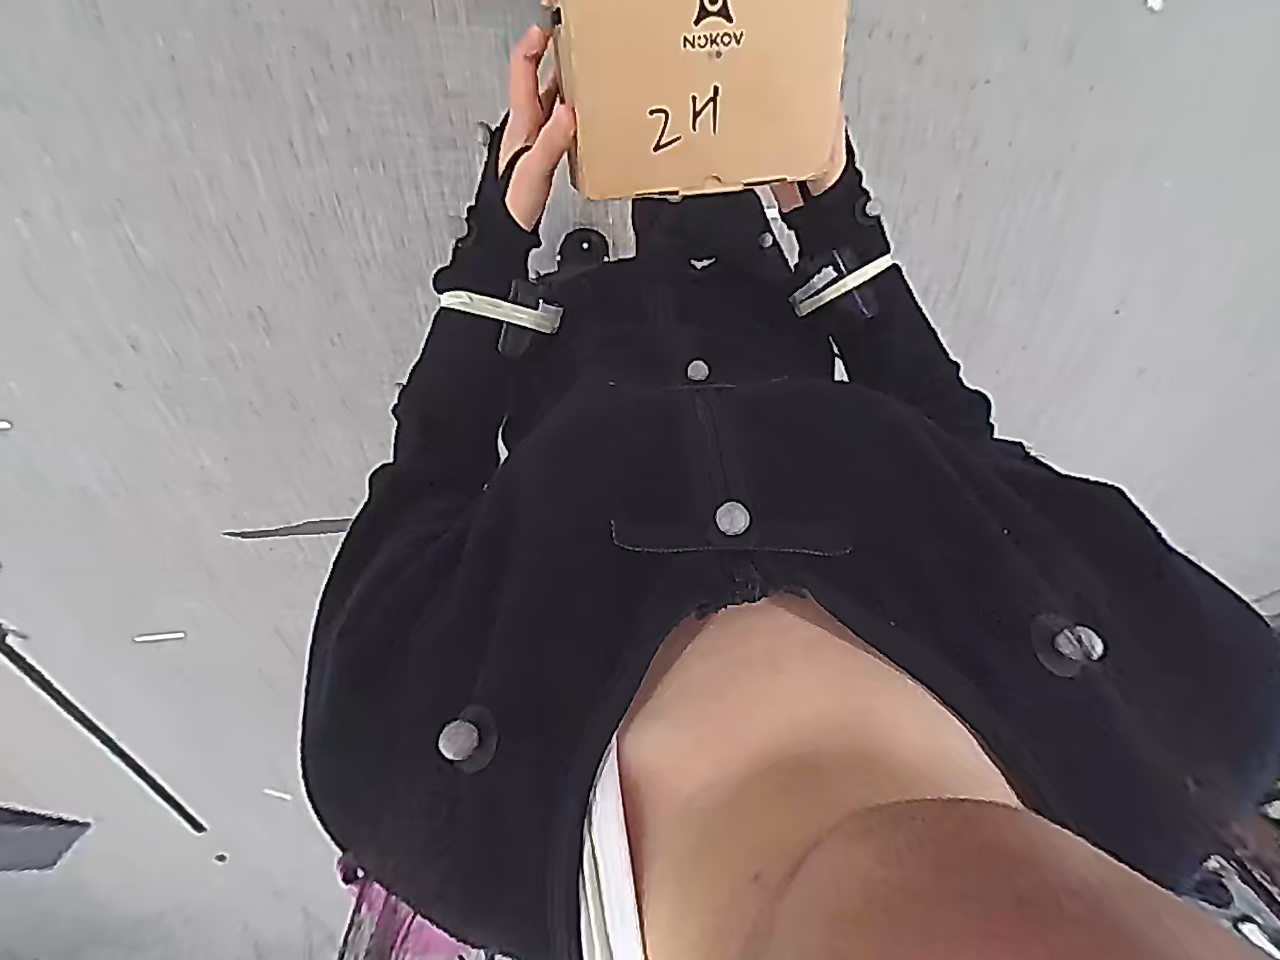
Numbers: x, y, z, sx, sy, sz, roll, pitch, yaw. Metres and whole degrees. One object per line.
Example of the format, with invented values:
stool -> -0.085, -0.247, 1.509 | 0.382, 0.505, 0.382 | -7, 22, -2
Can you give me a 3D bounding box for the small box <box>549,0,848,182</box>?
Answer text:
small box -> 0.027, -0.314, 0.373 | 0.168, 0.176, 0.179 | -9, 123, -6
